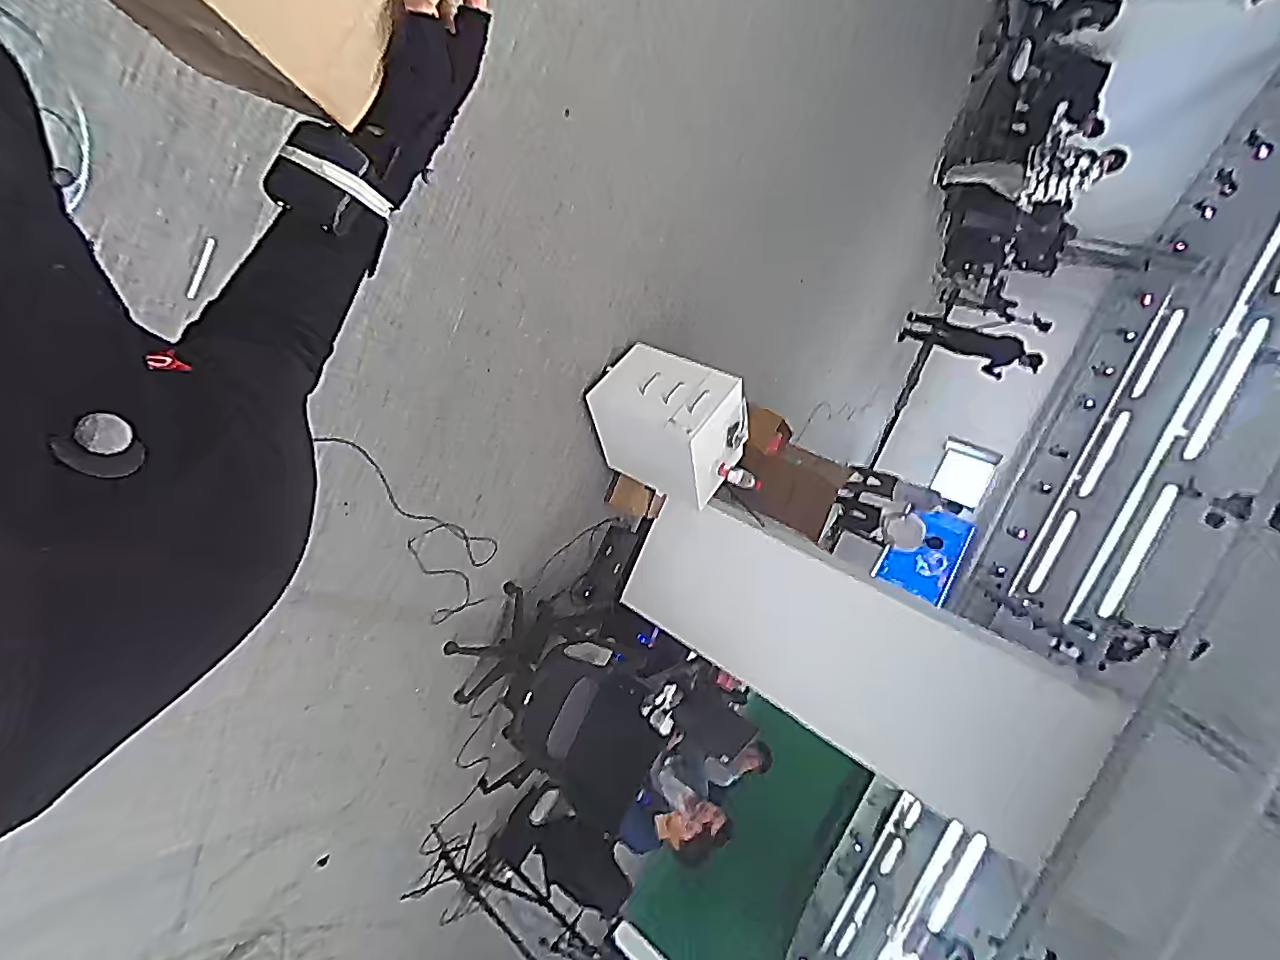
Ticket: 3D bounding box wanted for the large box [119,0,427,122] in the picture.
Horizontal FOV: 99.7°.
[{"bbox_3d":[-0.337,-0.520,0.310,0.320,0.320,0.408,-56,153,2],"label":"large box"}]
